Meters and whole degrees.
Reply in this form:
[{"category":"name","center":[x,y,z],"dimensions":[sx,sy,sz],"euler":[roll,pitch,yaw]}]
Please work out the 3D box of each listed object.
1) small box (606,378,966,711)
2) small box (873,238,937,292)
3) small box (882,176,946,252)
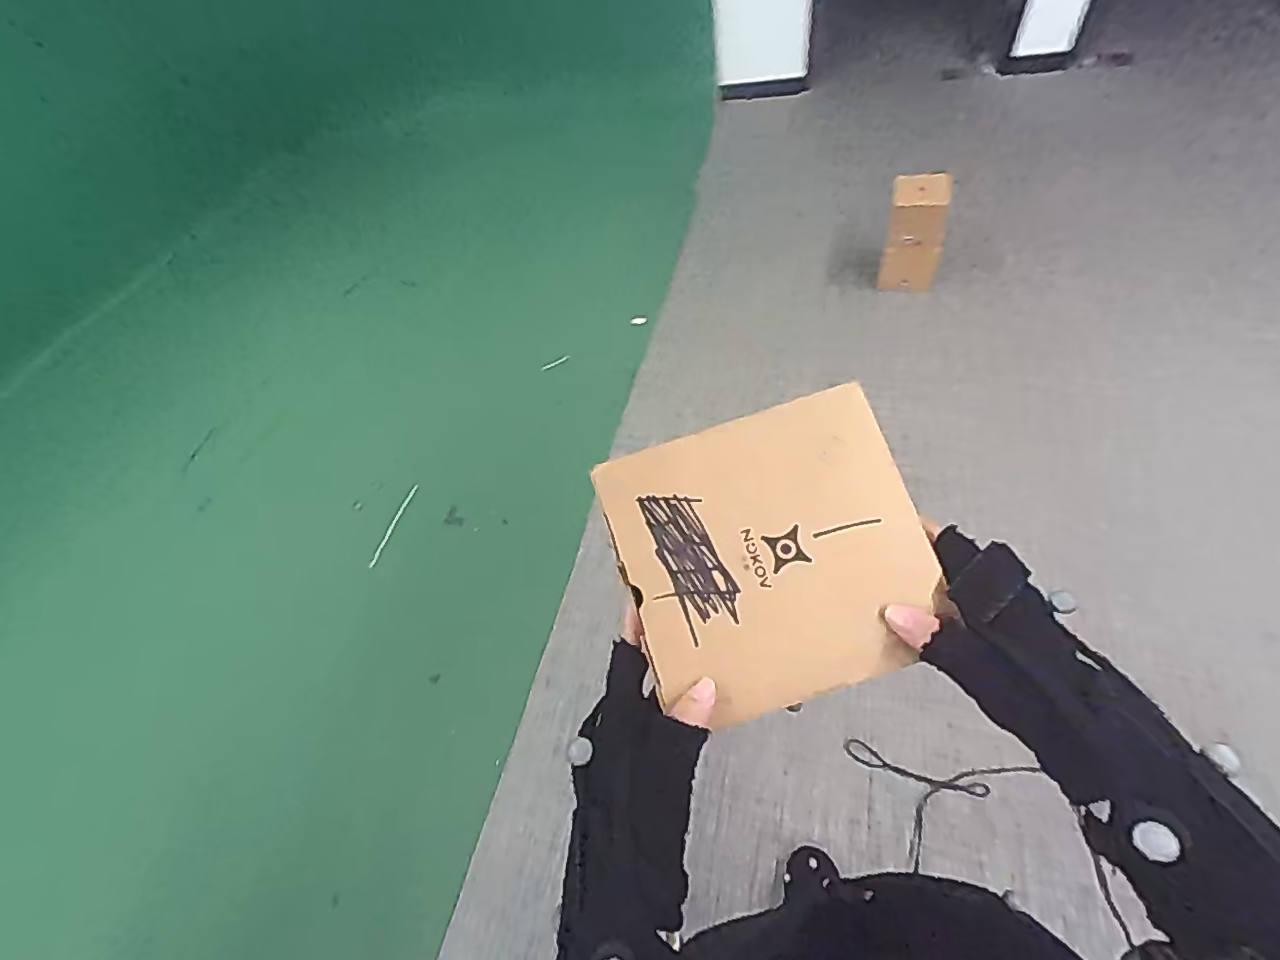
[{"category":"small box","center":[0.088,0.051,0.403],"dimensions":[0.179,0.176,0.168],"euler":[-17,78,0]},{"category":"small box","center":[0.963,-0.804,1.969],"dimensions":[0.179,0.176,0.168],"euler":[9,59,17]},{"category":"small box","center":[0.930,-0.904,1.843],"dimensions":[0.168,0.176,0.179],"euler":[7,60,19]}]
